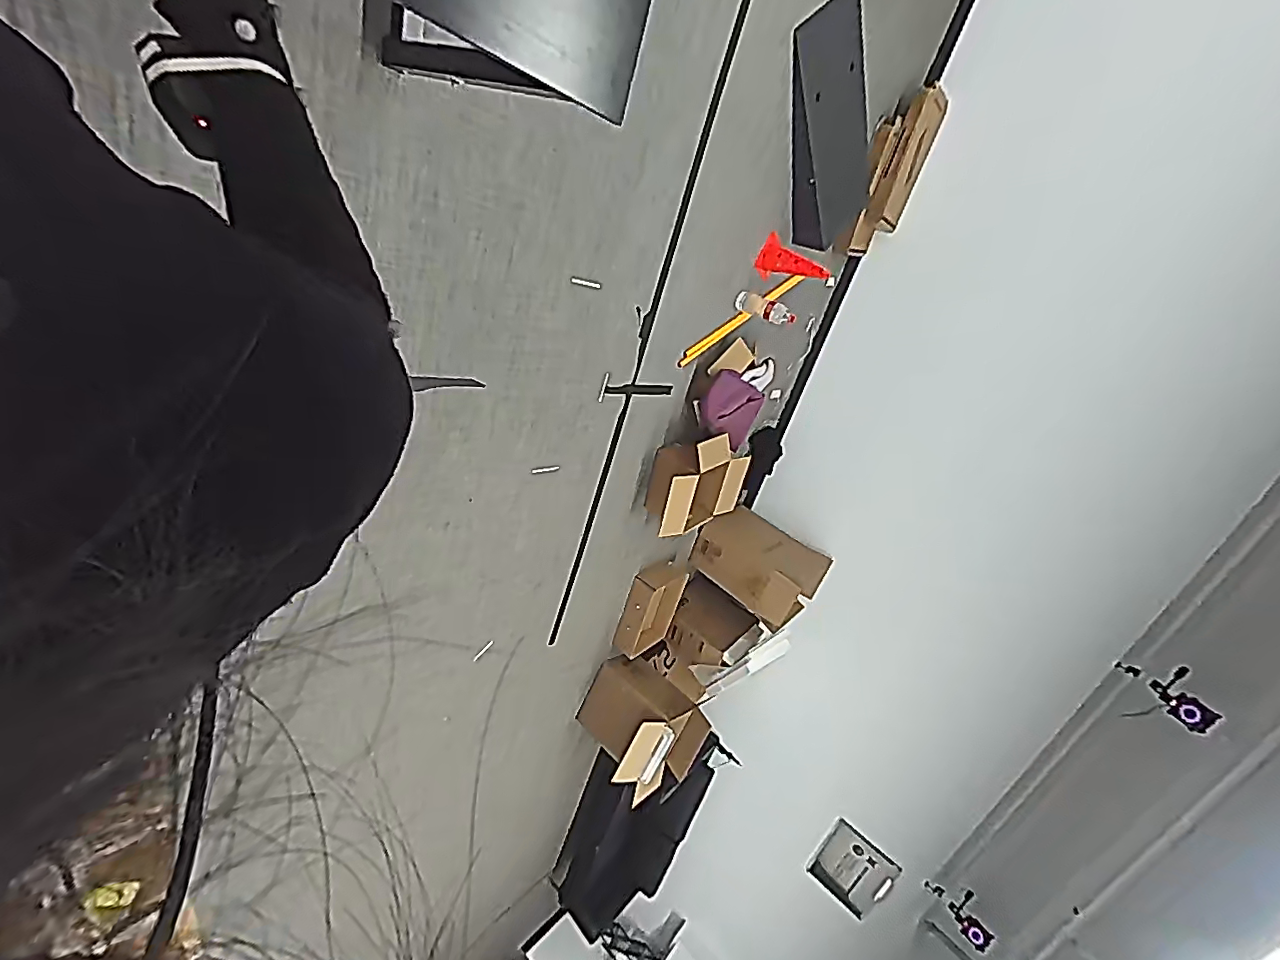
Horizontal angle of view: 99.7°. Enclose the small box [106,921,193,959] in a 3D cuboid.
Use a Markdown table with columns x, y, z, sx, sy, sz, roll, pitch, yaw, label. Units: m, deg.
| x | y | z | sx | sy | sz | roll | pitch | yaw | label |
| --- | --- | --- | --- | --- | --- | --- | --- | --- | --- |
| -1.180 | 1.227 | 1.299 | 0.168 | 0.176 | 0.179 | -19 | 128 | -49 | small box |
